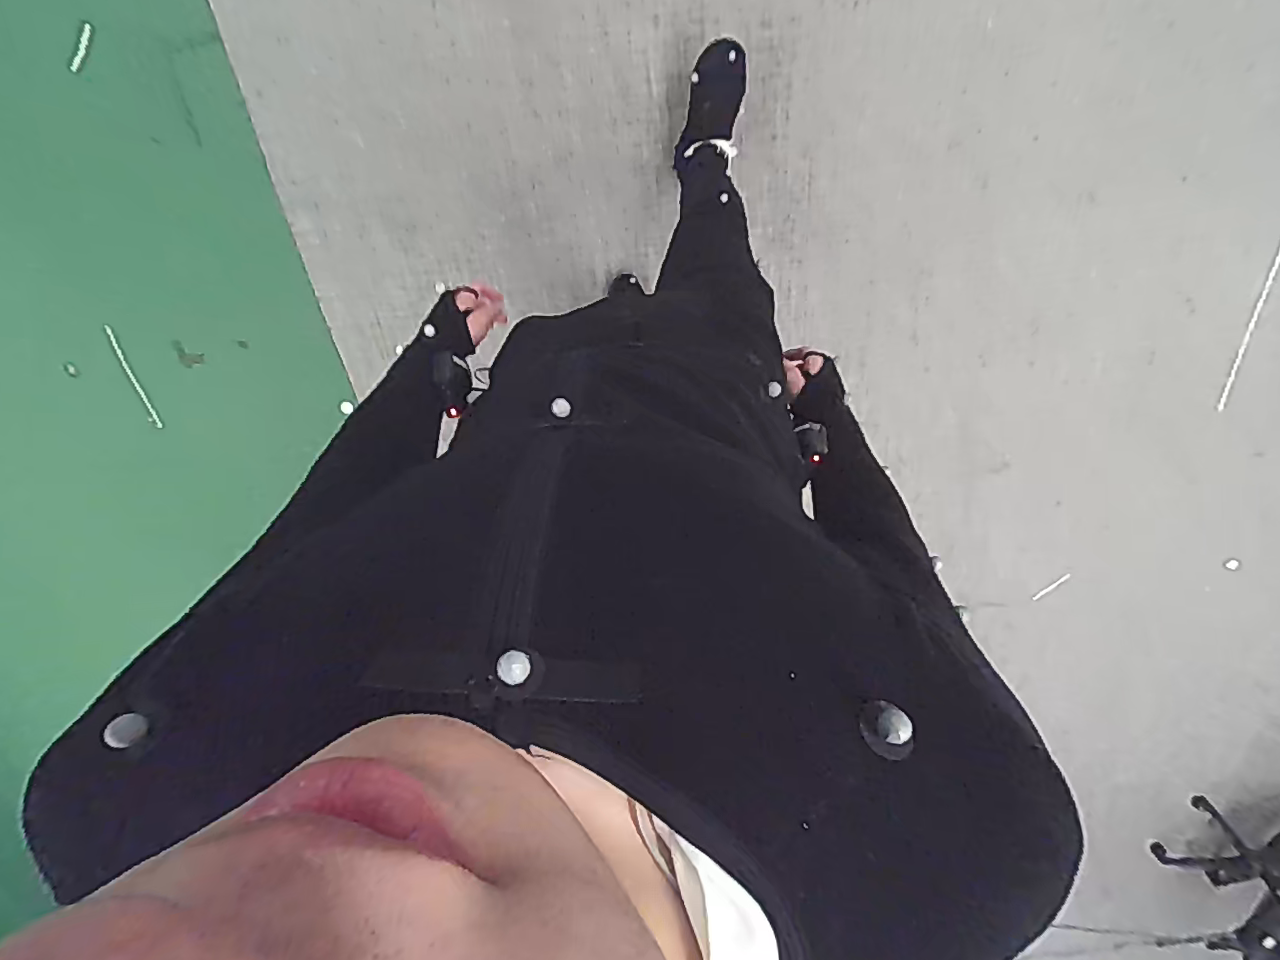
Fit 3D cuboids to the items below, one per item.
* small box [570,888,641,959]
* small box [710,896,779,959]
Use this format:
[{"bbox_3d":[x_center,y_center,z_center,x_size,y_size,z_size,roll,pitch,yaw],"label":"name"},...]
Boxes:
[{"bbox_3d":[-0.088,1.262,1.485,0.168,0.176,0.179,-5,117,4],"label":"small box"},{"bbox_3d":[0.279,1.266,1.468,0.168,0.176,0.179,-2,117,4],"label":"small box"}]
